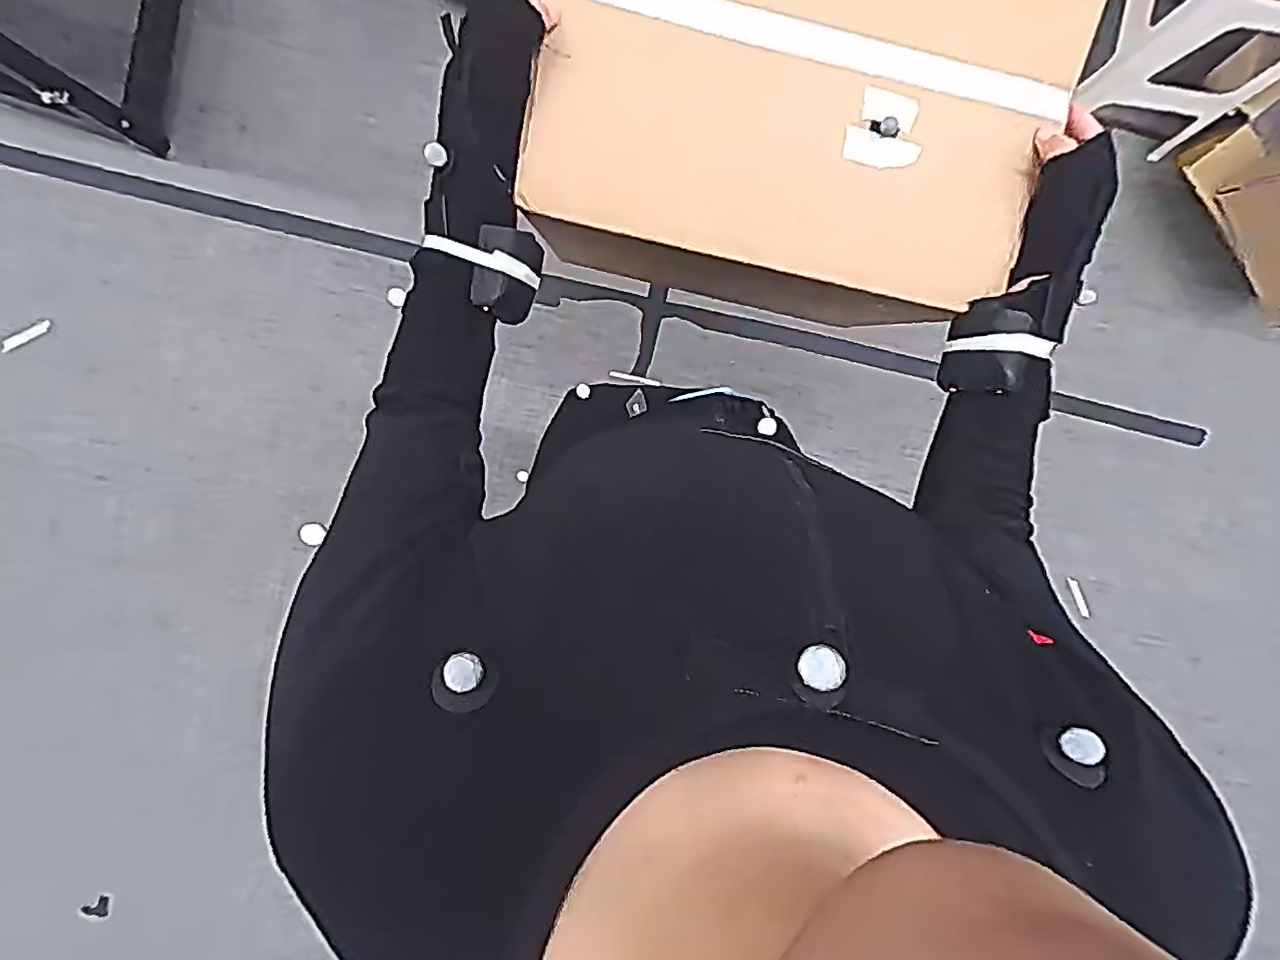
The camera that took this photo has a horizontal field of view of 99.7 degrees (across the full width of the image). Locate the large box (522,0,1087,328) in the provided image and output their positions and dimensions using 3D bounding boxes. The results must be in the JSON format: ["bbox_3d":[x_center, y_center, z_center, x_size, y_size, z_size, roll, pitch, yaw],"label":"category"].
[{"bbox_3d":[0.118,-0.354,0.557,0.408,0.320,0.320,11,105,-6],"label":"large box"}]
